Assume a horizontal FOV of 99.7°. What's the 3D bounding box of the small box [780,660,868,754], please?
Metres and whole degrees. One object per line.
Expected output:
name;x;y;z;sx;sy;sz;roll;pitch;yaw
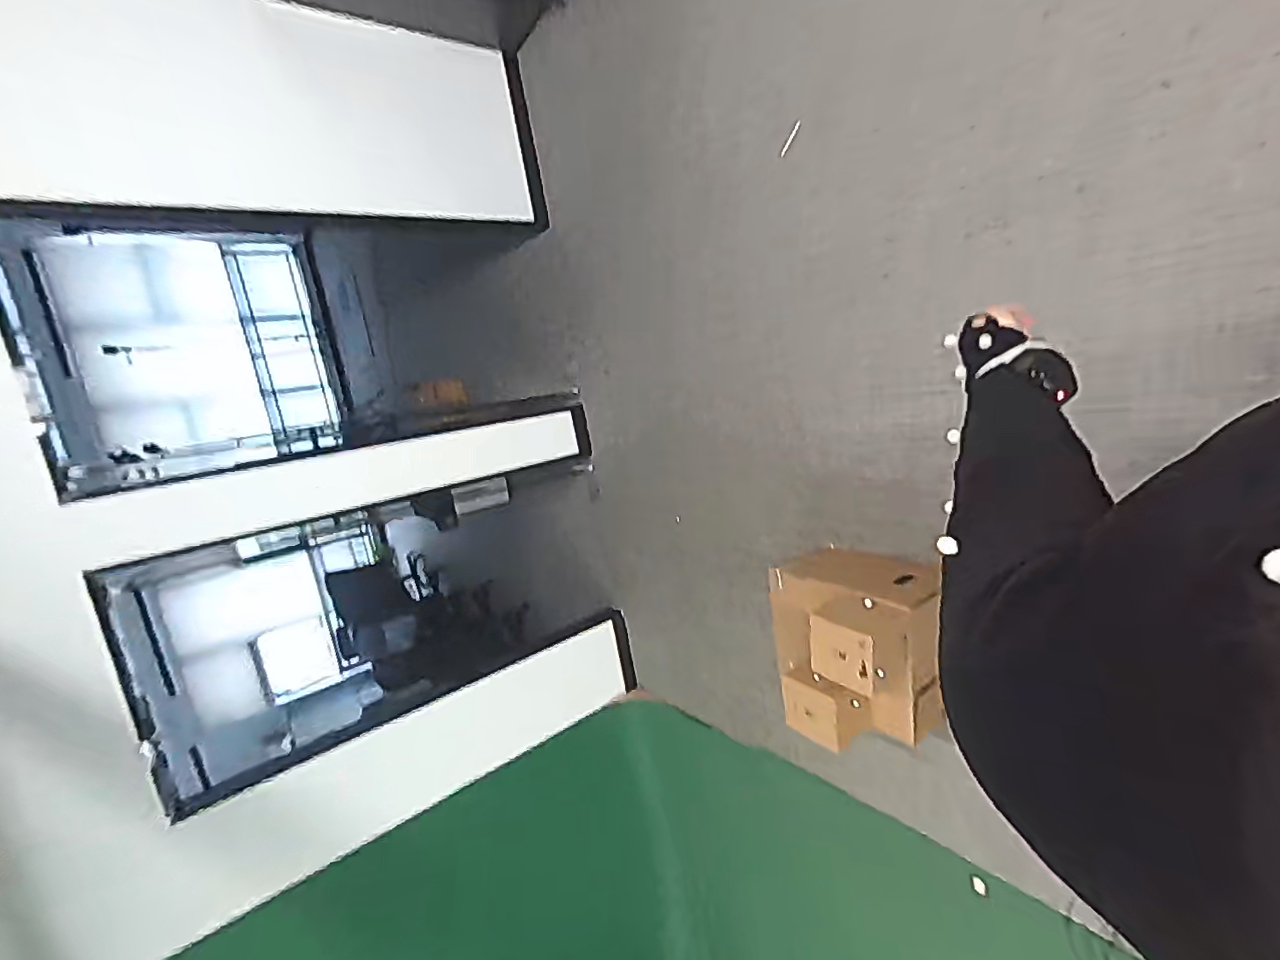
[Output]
small box;0.521;0.617;1.511;0.179;0.176;0.168;9;110;55

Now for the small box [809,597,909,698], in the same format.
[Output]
small box;0.555;0.415;1.377;0.179;0.176;0.168;13;113;54
